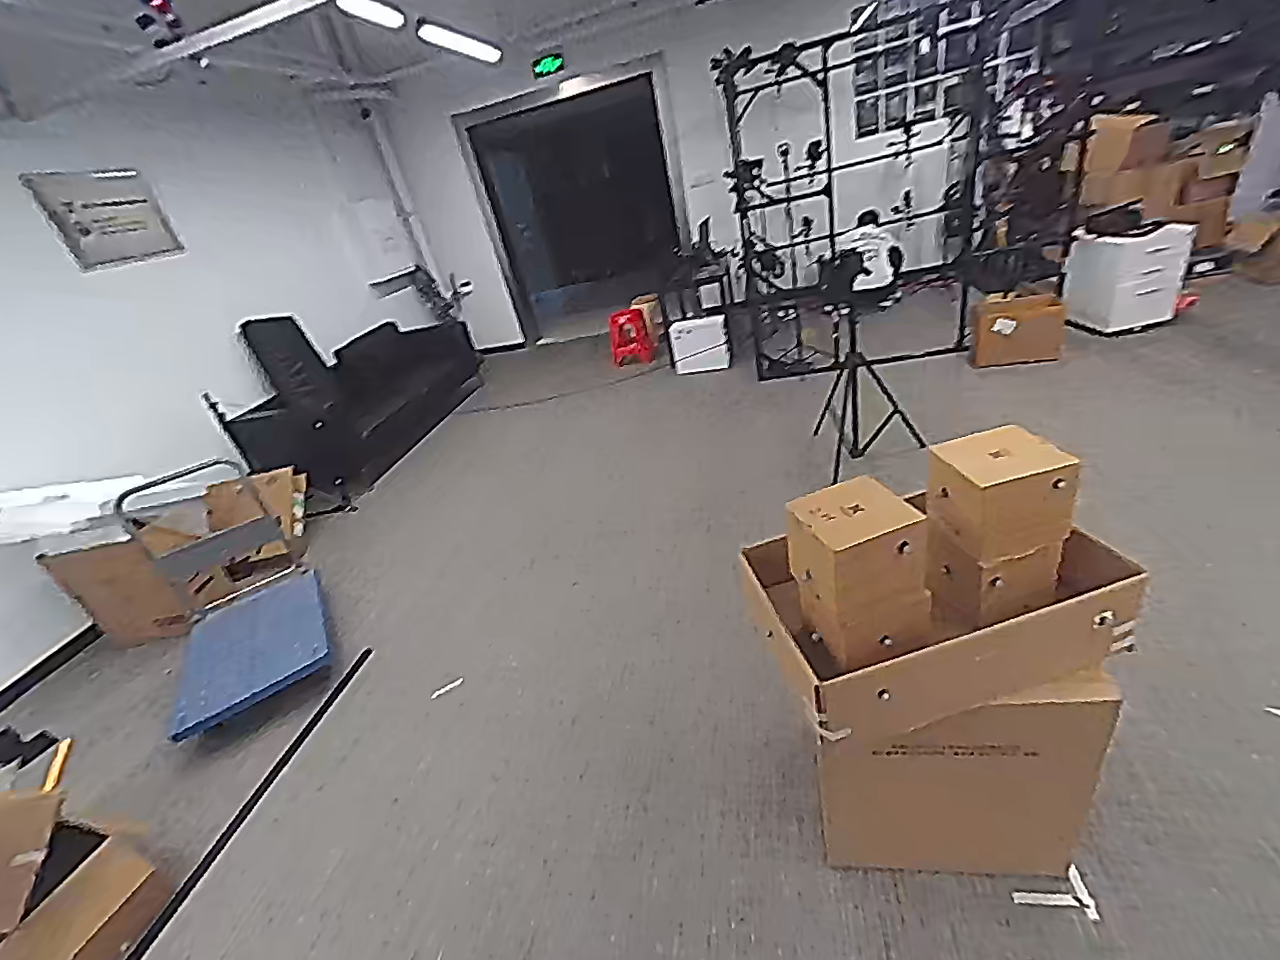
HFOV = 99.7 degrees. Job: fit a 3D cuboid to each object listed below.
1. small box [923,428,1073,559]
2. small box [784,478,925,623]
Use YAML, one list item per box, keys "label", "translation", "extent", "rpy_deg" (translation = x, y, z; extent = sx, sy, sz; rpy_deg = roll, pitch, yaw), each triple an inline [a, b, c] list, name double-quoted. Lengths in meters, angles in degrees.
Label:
- label: "small box"
  translation: [0.666, 0.026, 1.024]
  extent: [0.179, 0.176, 0.168]
  rpy_deg: [-15, 29, 1]
- label: "small box"
  translation: [0.381, 0.125, 0.980]
  extent: [0.179, 0.176, 0.168]
  rpy_deg: [-19, 30, -7]
